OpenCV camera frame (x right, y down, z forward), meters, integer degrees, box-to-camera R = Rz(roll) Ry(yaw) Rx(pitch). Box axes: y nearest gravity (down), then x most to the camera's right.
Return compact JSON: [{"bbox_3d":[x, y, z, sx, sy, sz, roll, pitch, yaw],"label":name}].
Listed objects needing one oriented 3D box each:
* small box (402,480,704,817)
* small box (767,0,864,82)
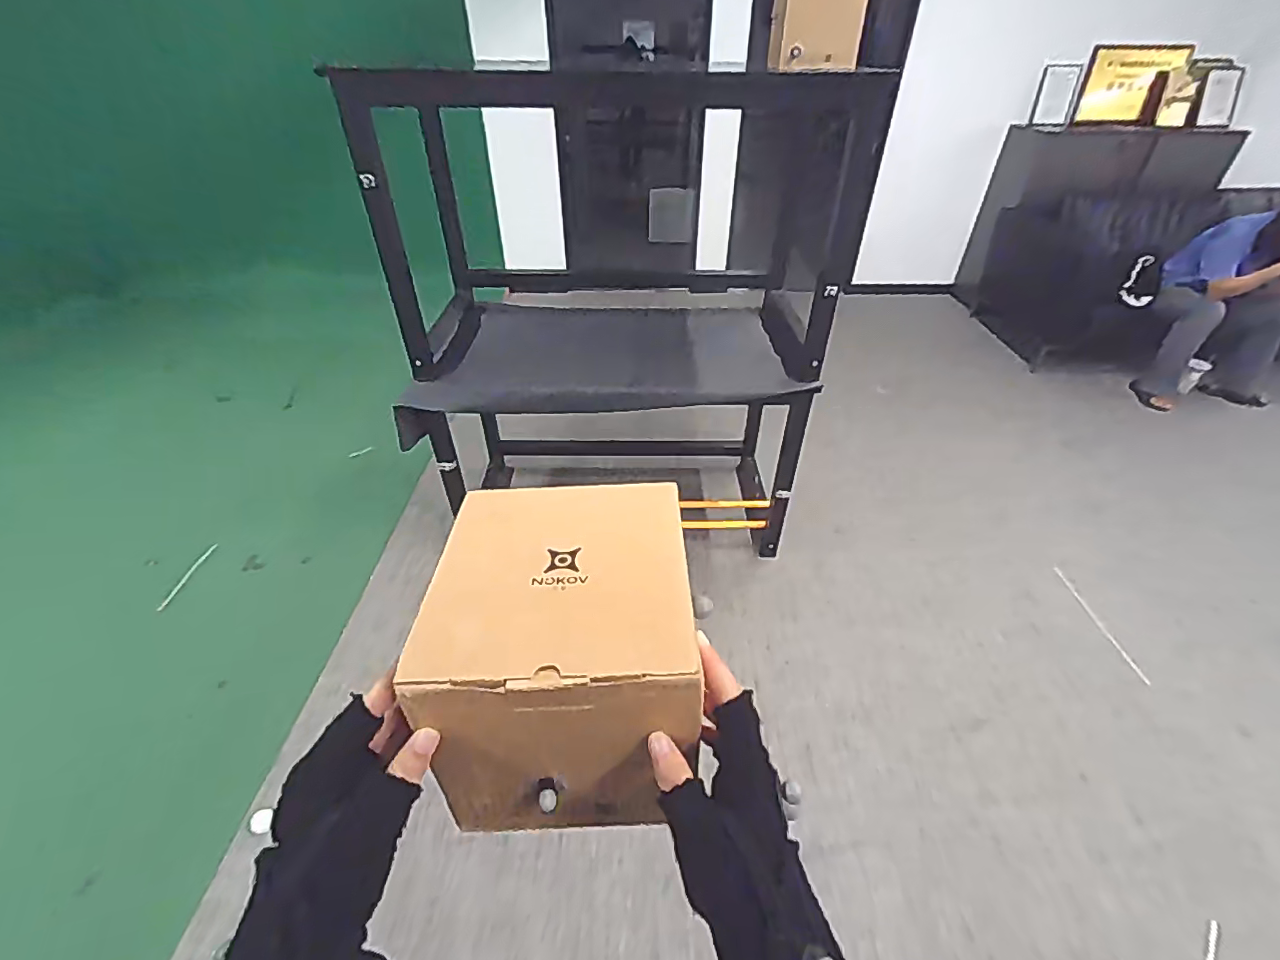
[{"bbox_3d":[-0.047,0.117,0.401,0.168,0.176,0.179,-2,34,0],"label":"small box"},{"bbox_3d":[0.385,-0.993,1.202,0.168,0.176,0.179,2,37,2],"label":"small box"}]
